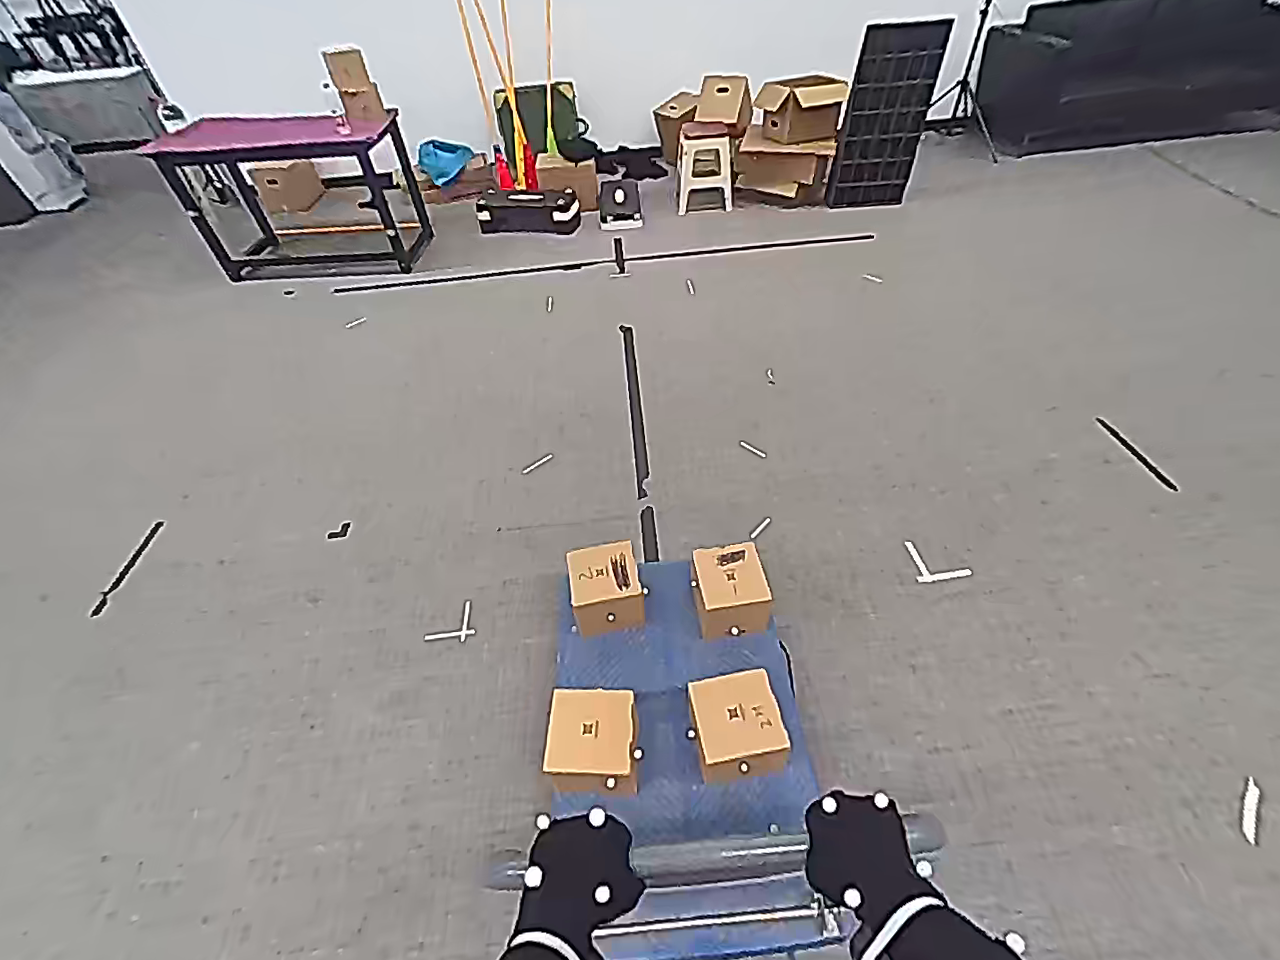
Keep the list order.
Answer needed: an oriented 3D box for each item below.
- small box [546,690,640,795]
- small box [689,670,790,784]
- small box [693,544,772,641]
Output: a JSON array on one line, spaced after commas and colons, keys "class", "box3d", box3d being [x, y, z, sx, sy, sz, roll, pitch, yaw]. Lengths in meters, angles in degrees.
[{"class": "small box", "box3d": [-0.095, 0.576, 1.182, 0.179, 0.176, 0.168, 0, 47, 3]}, {"class": "small box", "box3d": [0.210, 0.543, 1.184, 0.179, 0.176, 0.168, -10, 47, -4]}, {"class": "small box", "box3d": [0.233, 0.295, 1.414, 0.168, 0.176, 0.179, -8, 48, -3]}]
